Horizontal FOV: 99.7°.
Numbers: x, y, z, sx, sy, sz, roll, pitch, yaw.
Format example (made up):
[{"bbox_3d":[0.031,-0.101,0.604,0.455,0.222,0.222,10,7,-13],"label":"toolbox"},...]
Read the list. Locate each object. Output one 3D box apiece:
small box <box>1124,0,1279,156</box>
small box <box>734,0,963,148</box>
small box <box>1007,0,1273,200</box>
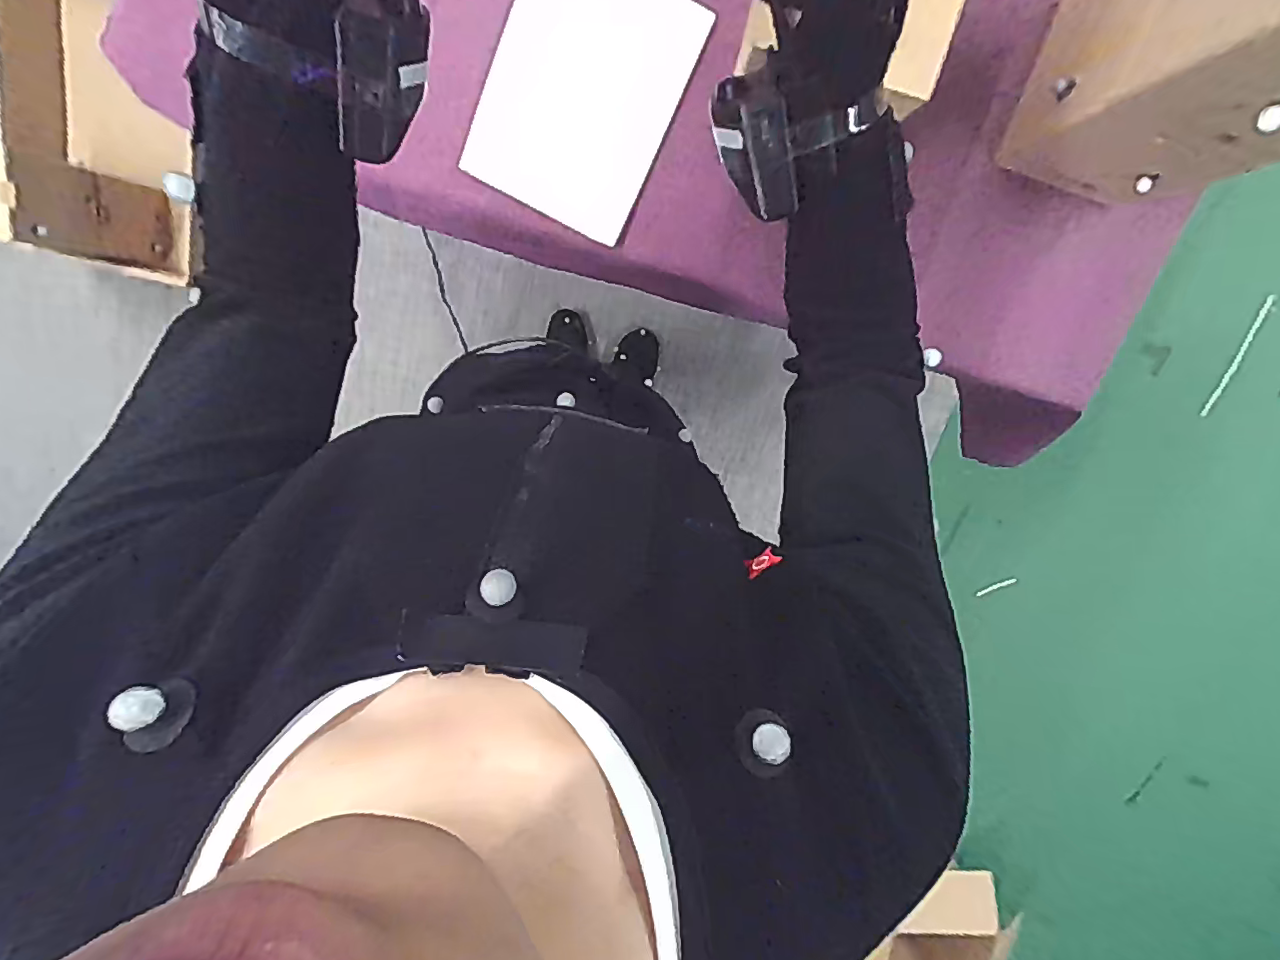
[{"bbox_3d":[0.508,-0.361,0.379,0.168,0.176,0.179,17,106,-6],"label":"small box"},{"bbox_3d":[0.198,-0.457,0.525,0.168,0.176,0.179,14,105,-4],"label":"small box"},{"bbox_3d":[0.515,-0.406,0.537,0.168,0.176,0.179,17,105,-5],"label":"small box"}]
